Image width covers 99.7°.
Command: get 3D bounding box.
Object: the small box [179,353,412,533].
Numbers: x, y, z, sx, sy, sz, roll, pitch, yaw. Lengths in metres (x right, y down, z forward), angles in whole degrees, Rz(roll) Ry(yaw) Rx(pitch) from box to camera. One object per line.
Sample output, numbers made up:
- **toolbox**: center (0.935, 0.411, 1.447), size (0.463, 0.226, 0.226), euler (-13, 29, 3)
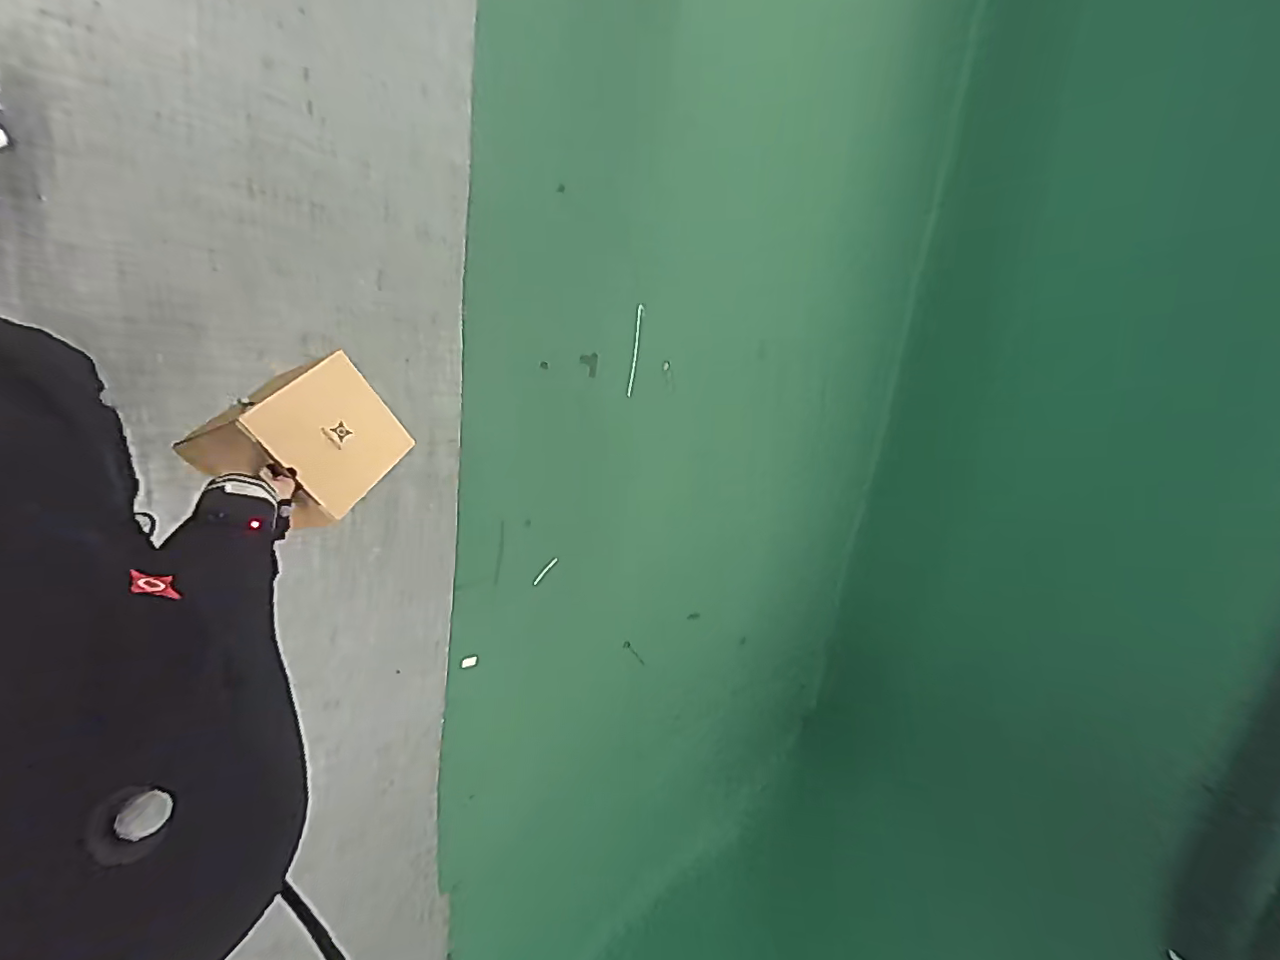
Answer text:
- **small box**: center (-0.465, -0.047, 0.742), size (0.168, 0.176, 0.179), euler (62, 34, -30)
